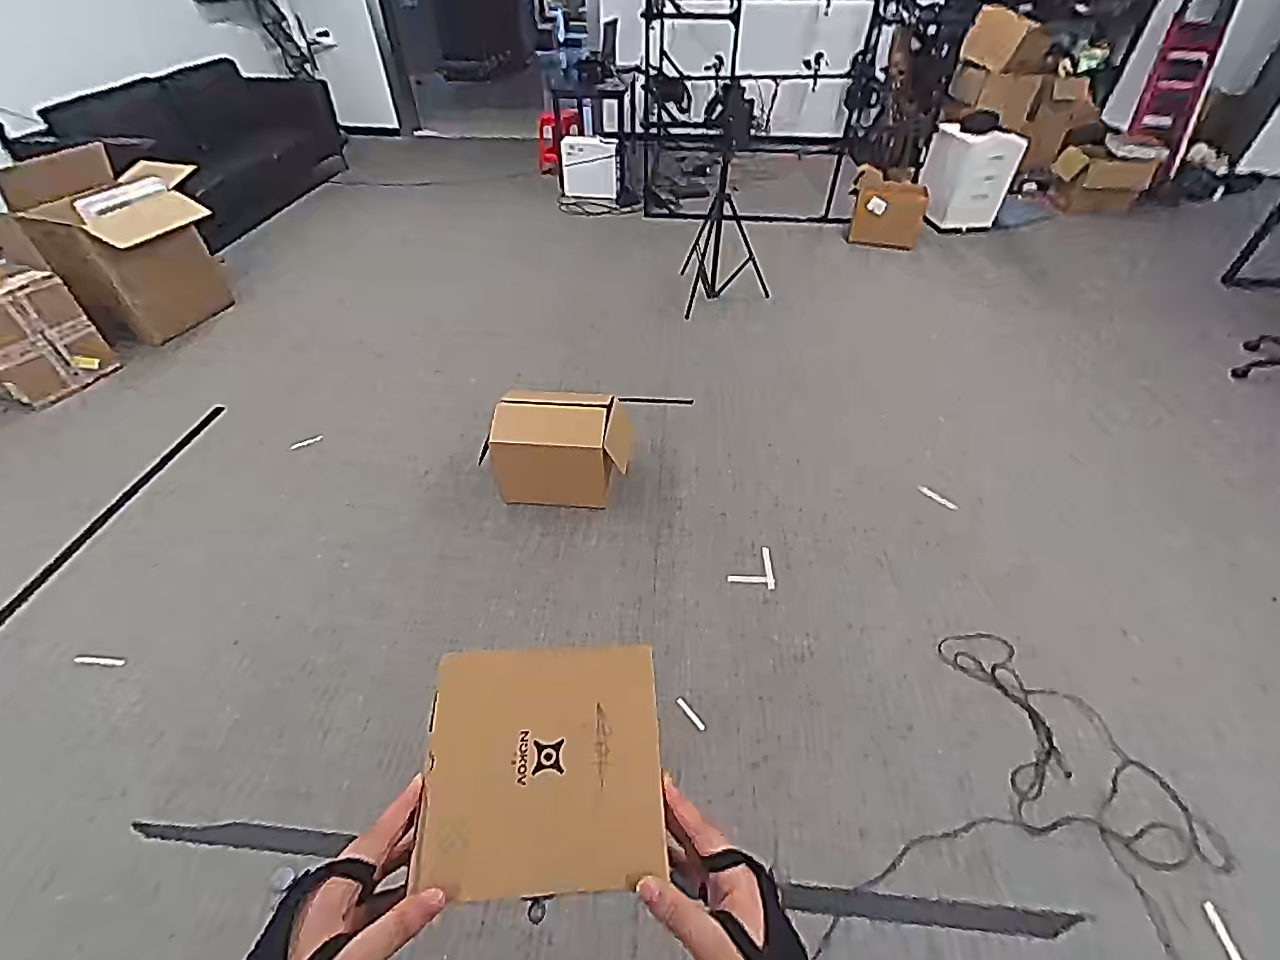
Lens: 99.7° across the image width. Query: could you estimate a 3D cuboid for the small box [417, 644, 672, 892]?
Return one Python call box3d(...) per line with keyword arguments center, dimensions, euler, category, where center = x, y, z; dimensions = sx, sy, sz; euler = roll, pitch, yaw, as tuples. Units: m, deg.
box3d(center=(-0.071, 0.256, 0.477), dimensions=(0.179, 0.176, 0.168), euler=(-1, 54, -5), category="small box")
